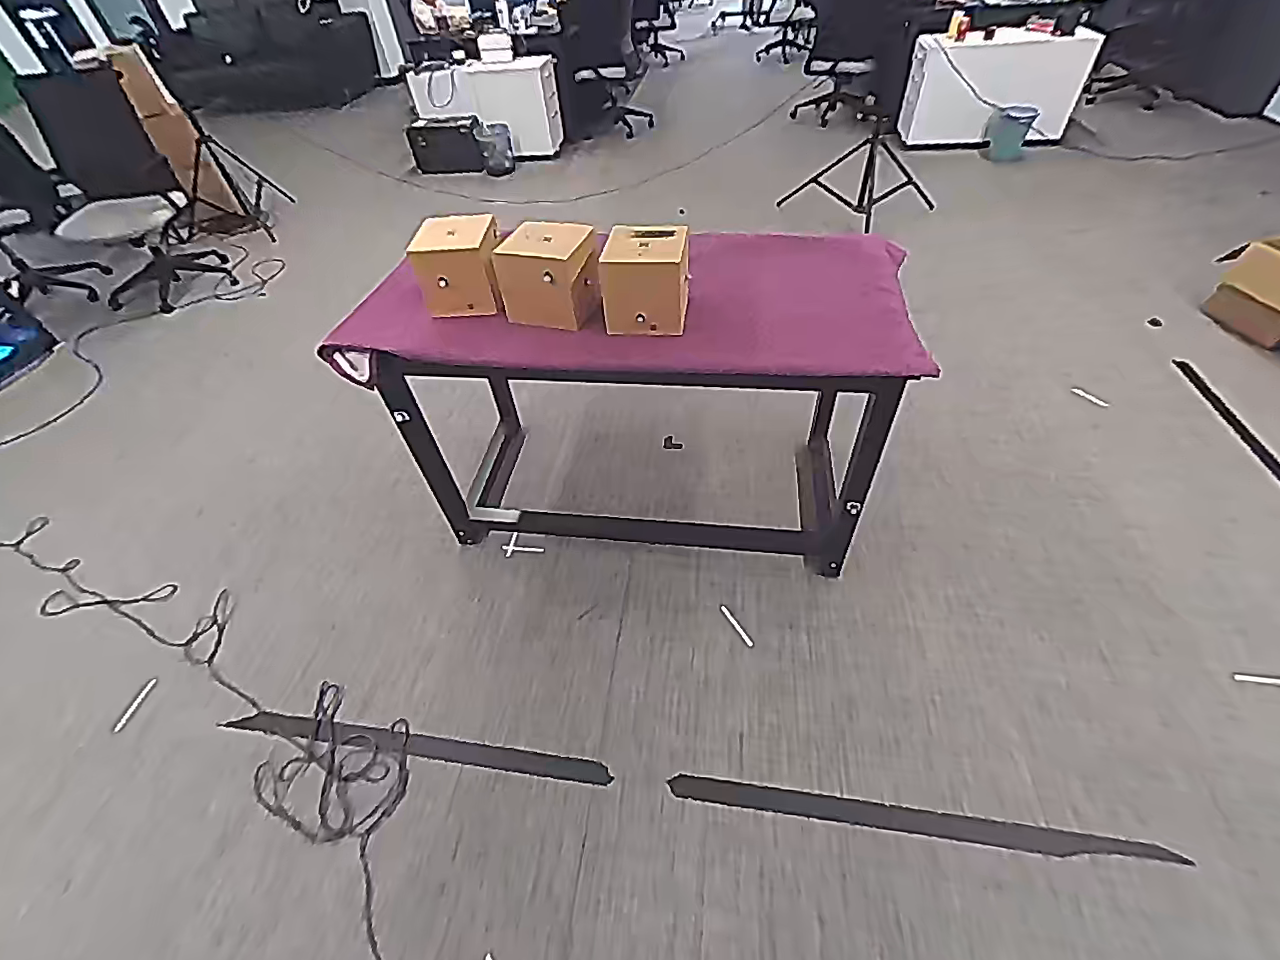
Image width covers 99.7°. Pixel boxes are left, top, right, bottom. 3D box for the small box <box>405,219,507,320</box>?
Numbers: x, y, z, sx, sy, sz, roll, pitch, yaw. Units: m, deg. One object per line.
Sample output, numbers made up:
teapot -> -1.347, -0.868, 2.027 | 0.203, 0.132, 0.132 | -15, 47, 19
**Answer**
small box -> -0.427, -0.496, 1.290 | 0.168, 0.176, 0.179 | -3, 47, 3
